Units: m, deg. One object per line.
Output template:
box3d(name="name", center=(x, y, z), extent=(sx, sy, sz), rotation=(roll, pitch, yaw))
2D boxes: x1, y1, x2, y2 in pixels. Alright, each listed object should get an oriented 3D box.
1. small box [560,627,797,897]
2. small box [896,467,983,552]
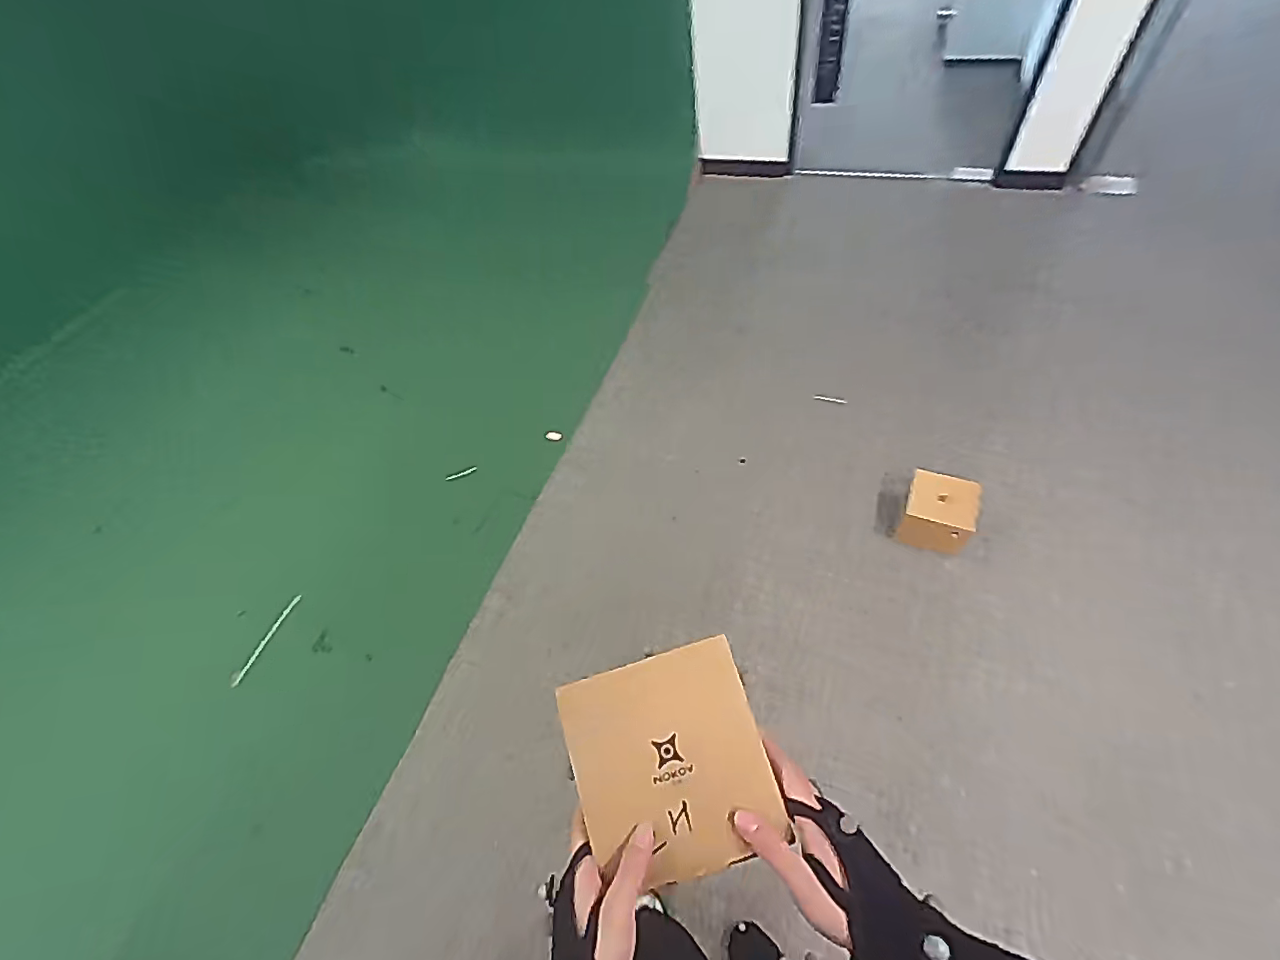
box3d(name="small box", center=(0.033, 0.259, 0.535), extent=(0.168, 0.176, 0.179), rotation=(-17, 72, 0))
box3d(name="small box", center=(0.870, 0.090, 1.583), extent=(0.179, 0.176, 0.168), rotation=(16, 61, 19))
